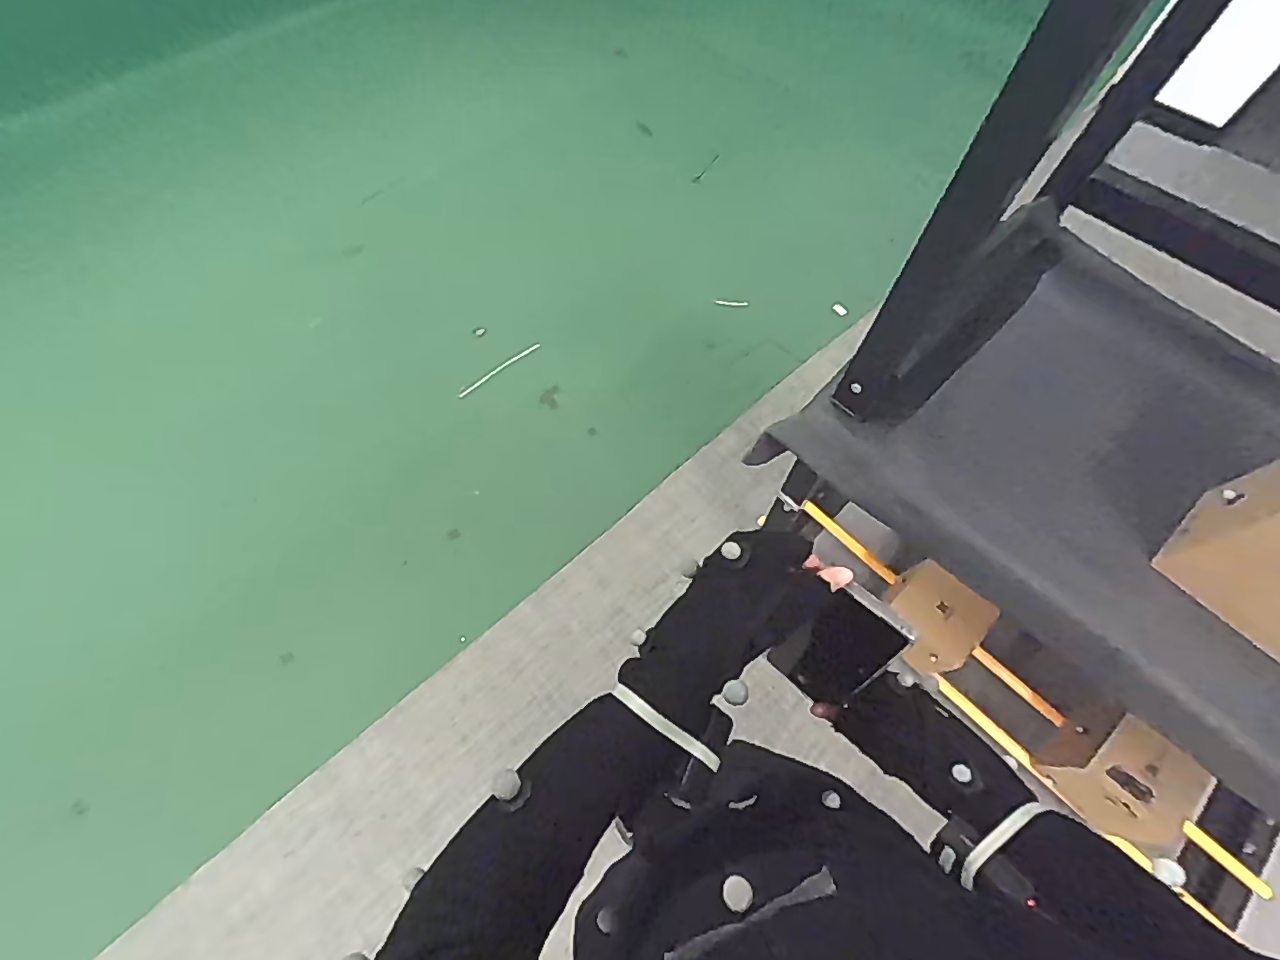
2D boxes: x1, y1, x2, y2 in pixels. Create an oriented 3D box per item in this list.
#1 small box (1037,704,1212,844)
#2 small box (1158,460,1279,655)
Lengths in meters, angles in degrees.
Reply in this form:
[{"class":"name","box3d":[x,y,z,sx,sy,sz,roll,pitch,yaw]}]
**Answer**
[{"class":"small box","box3d":[0.947,0.579,1.079,0.179,0.176,0.168,-37,69,-16]},{"class":"small box","box3d":[0.783,0.084,0.631,0.168,0.176,0.179,-37,69,-17]}]
